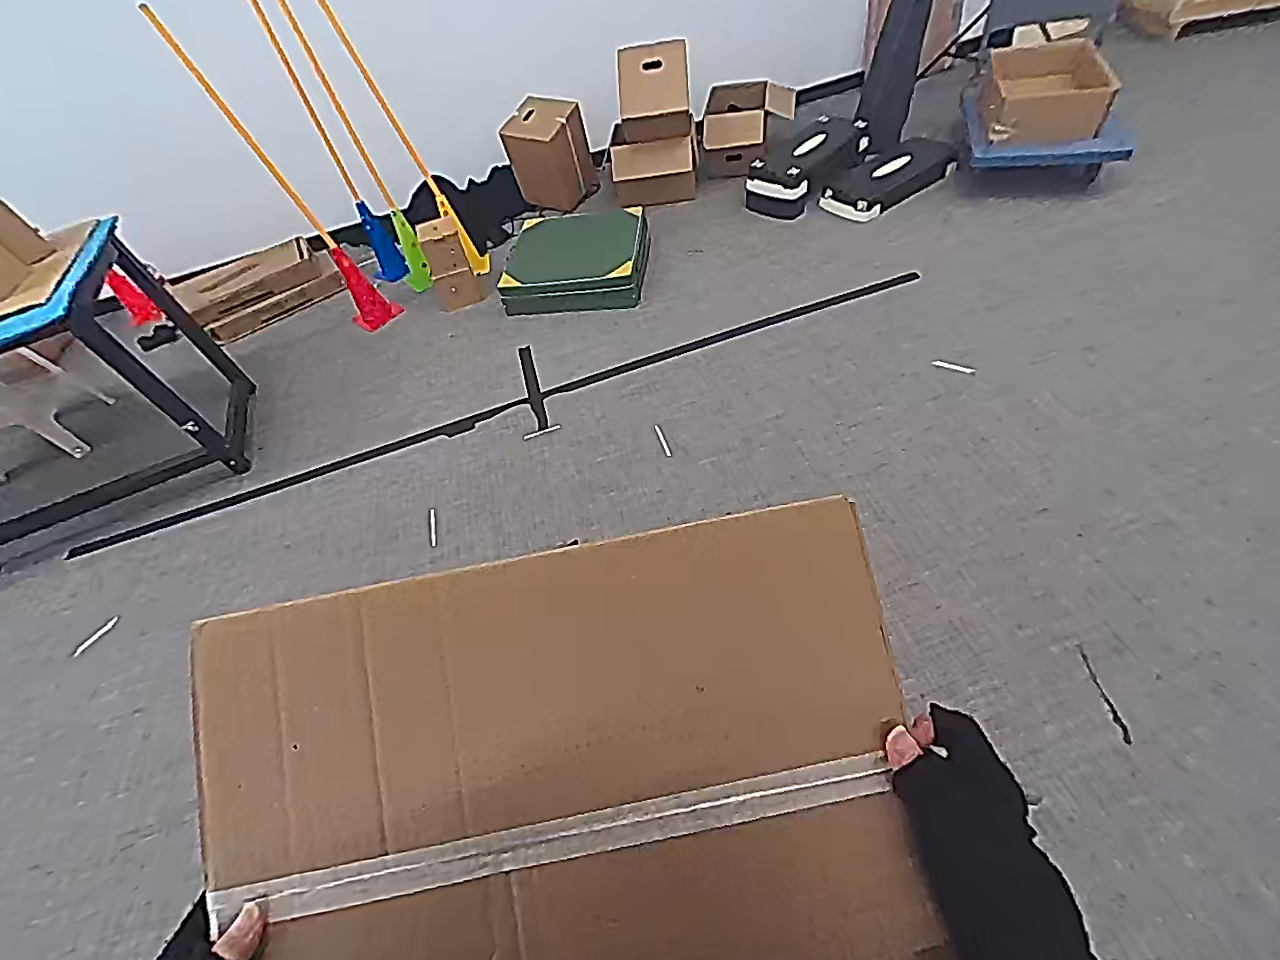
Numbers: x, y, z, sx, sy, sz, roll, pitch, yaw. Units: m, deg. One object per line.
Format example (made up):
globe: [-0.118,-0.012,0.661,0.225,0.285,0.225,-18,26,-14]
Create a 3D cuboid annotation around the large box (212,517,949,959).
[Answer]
large box: [-0.038,0.231,0.464,0.408,0.320,0.320,-11,81,-1]
